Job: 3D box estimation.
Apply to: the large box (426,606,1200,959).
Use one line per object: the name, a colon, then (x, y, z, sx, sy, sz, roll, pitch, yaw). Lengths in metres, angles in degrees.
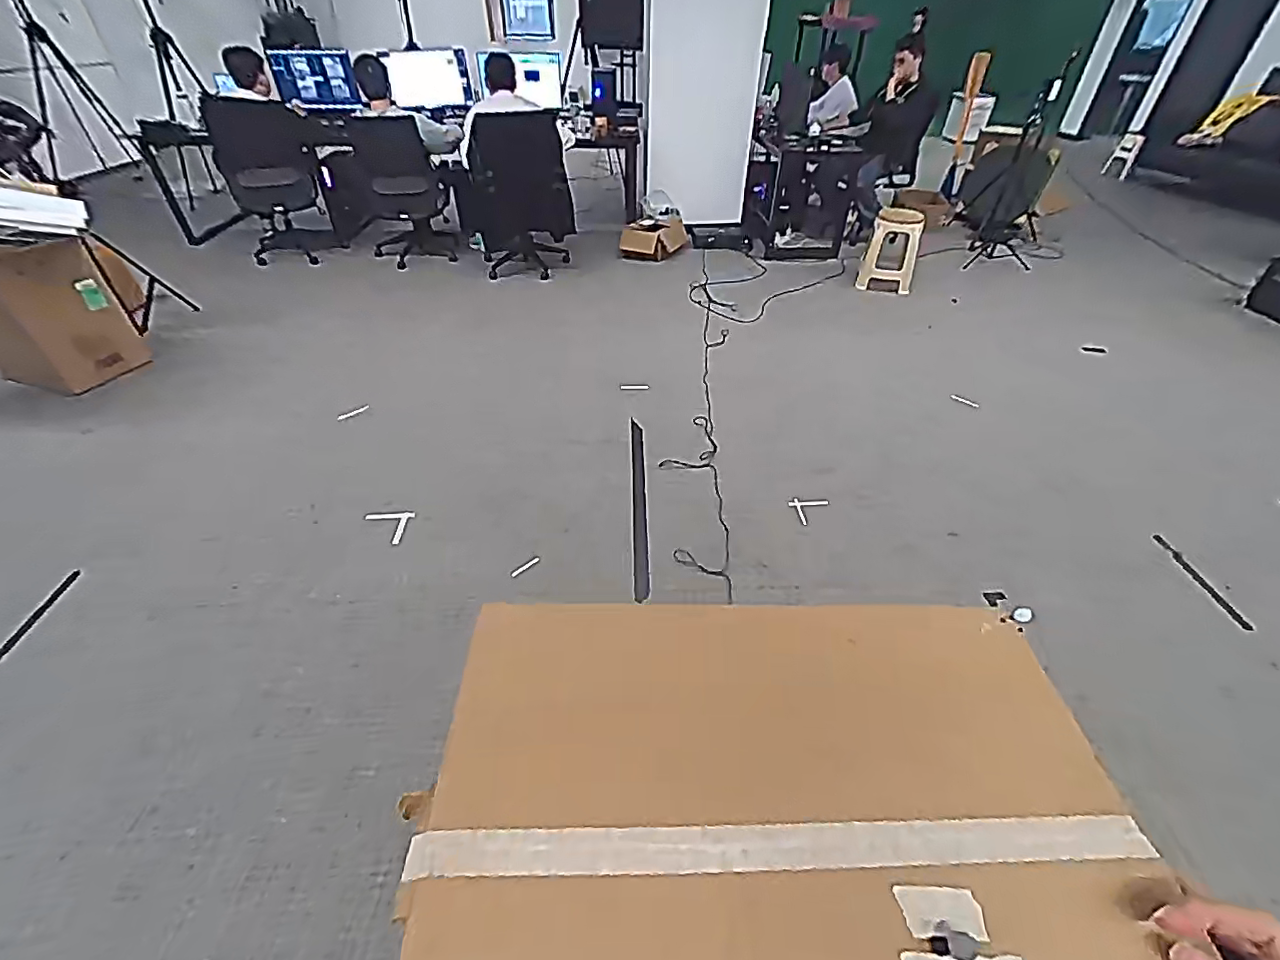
large box: (0.079, 0.313, 0.413, 0.408, 0.320, 0.320, 2, 44, -4)
